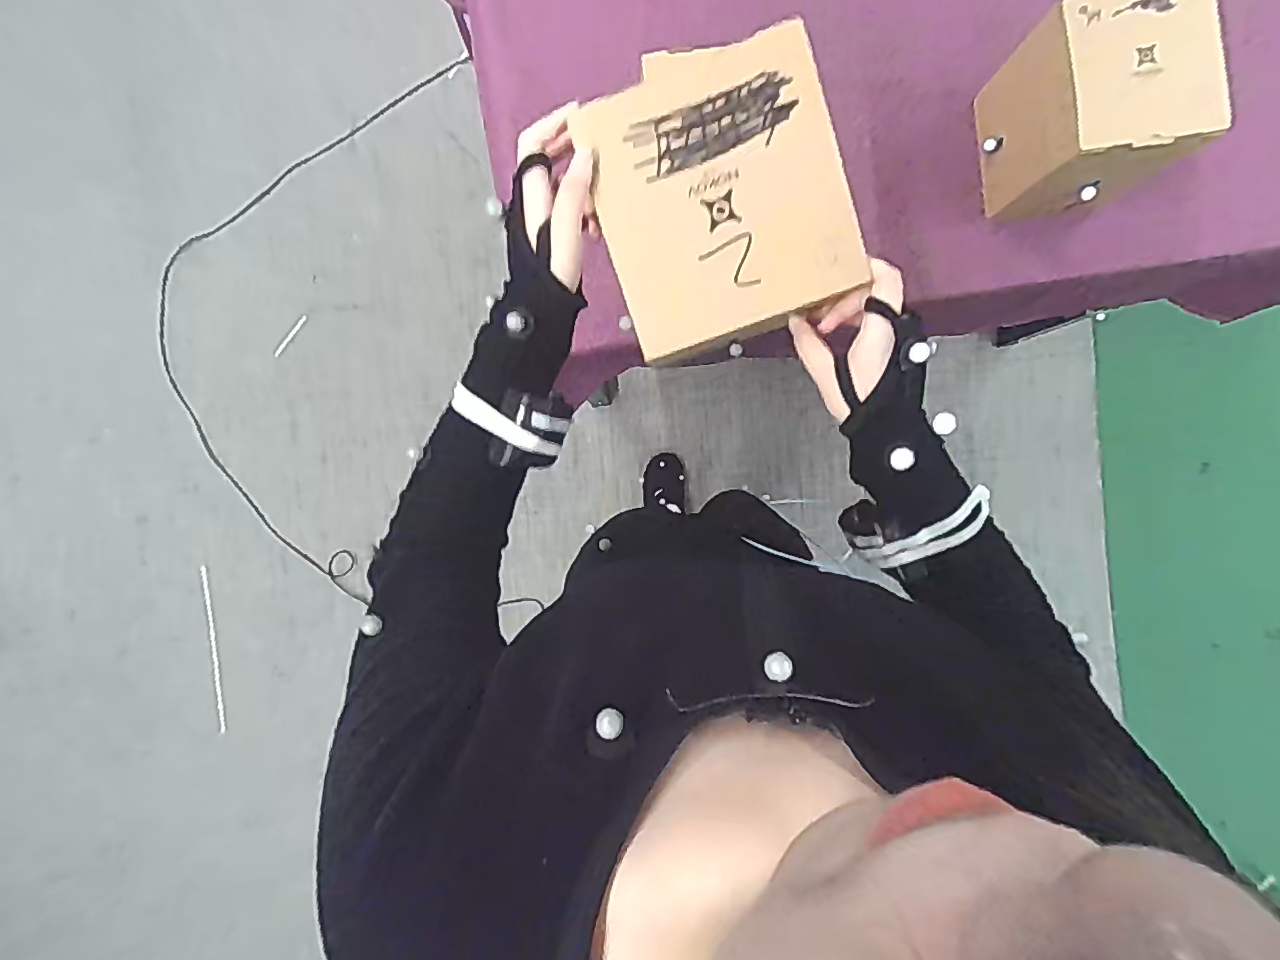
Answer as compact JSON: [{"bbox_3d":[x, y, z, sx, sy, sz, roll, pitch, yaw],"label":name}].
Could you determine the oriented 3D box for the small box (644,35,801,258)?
[{"bbox_3d":[0.093,-0.404,0.682,0.168,0.176,0.179,-6,92,1],"label":"small box"}]

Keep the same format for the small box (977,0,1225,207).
[{"bbox_3d":[0.555,-0.463,0.673,0.168,0.176,0.179,-7,92,1],"label":"small box"}]
